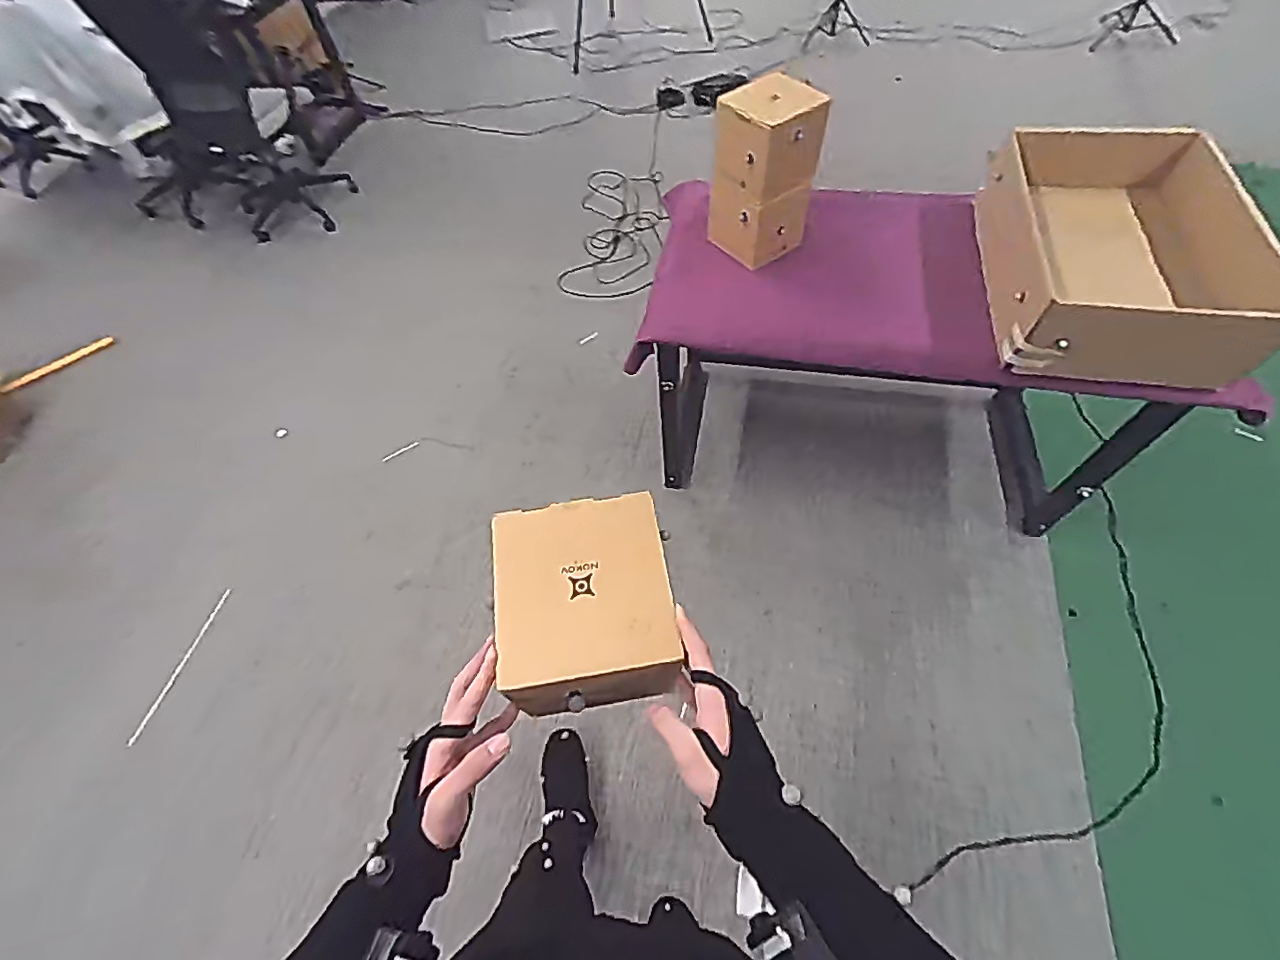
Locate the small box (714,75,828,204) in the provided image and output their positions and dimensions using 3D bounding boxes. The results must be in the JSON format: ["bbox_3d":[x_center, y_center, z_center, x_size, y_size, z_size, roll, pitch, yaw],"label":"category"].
[{"bbox_3d":[0.278,-0.743,1.188,0.179,0.176,0.168,-33,63,-16],"label":"small box"}]

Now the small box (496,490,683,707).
[{"bbox_3d":[-0.051,0.135,0.579,0.168,0.176,0.179,-8,58,-4],"label":"small box"}]

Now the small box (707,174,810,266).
[{"bbox_3d":[0.282,-0.654,1.324,0.168,0.176,0.179,-33,61,-16],"label":"small box"}]
